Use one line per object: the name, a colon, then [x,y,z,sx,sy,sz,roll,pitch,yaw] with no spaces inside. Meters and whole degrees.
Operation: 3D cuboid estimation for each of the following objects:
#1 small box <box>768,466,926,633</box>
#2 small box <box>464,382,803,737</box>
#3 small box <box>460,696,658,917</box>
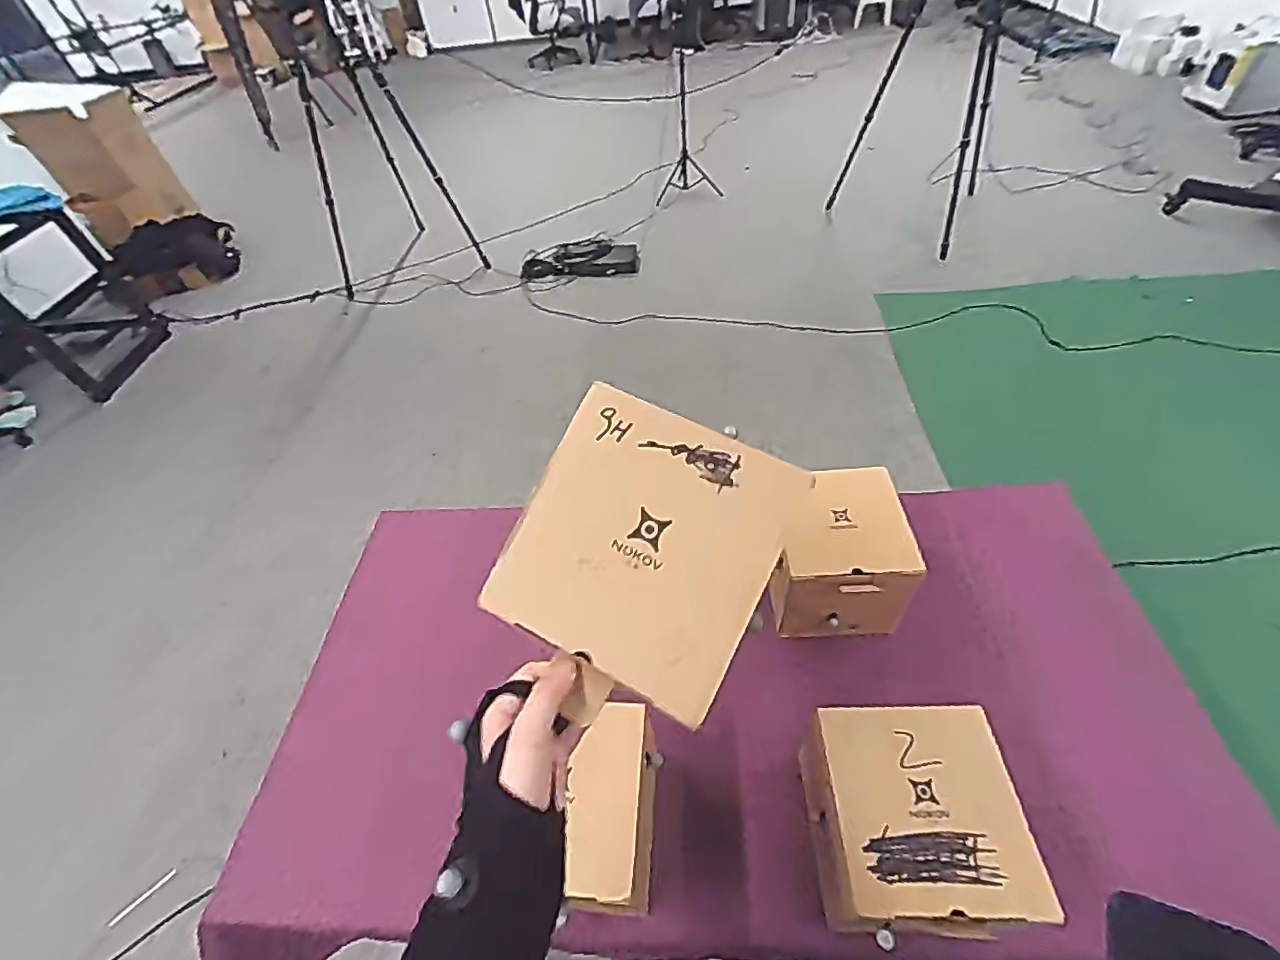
small box: [0.276,0.102,0.778,0.168,0.176,0.179,-4,49,5]
small box: [0.005,0.058,0.422,0.168,0.176,0.179,27,83,12]
small box: [-0.071,0.360,0.599,0.168,0.176,0.179,-1,49,8]
